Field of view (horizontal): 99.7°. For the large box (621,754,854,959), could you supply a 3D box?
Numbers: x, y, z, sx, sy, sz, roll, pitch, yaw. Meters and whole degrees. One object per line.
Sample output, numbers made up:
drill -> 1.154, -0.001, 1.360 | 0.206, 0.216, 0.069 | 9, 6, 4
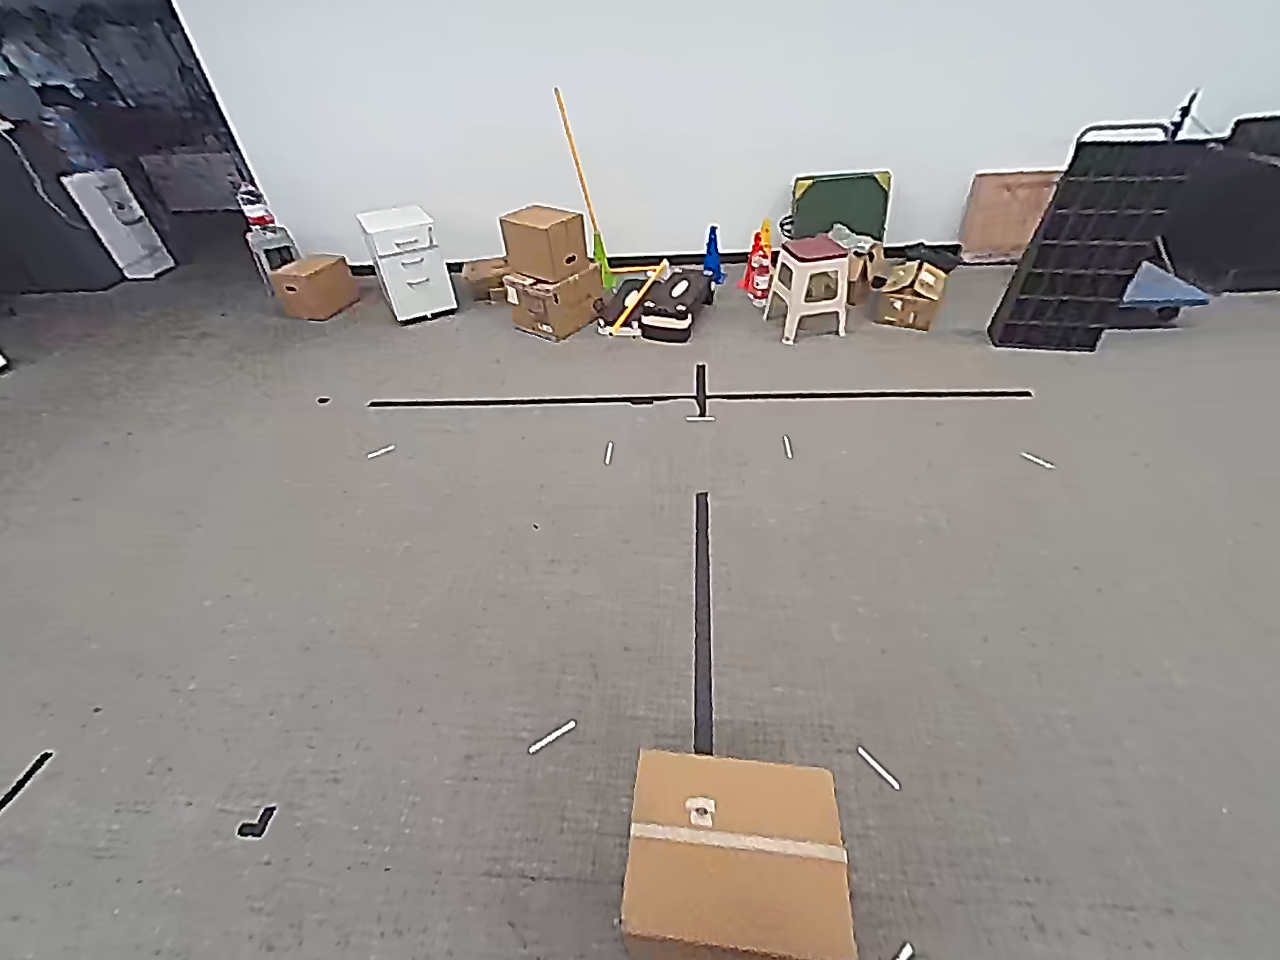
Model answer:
large box -> 0.190, 0.809, 1.134 | 0.408, 0.320, 0.320 | 1, 40, 8
